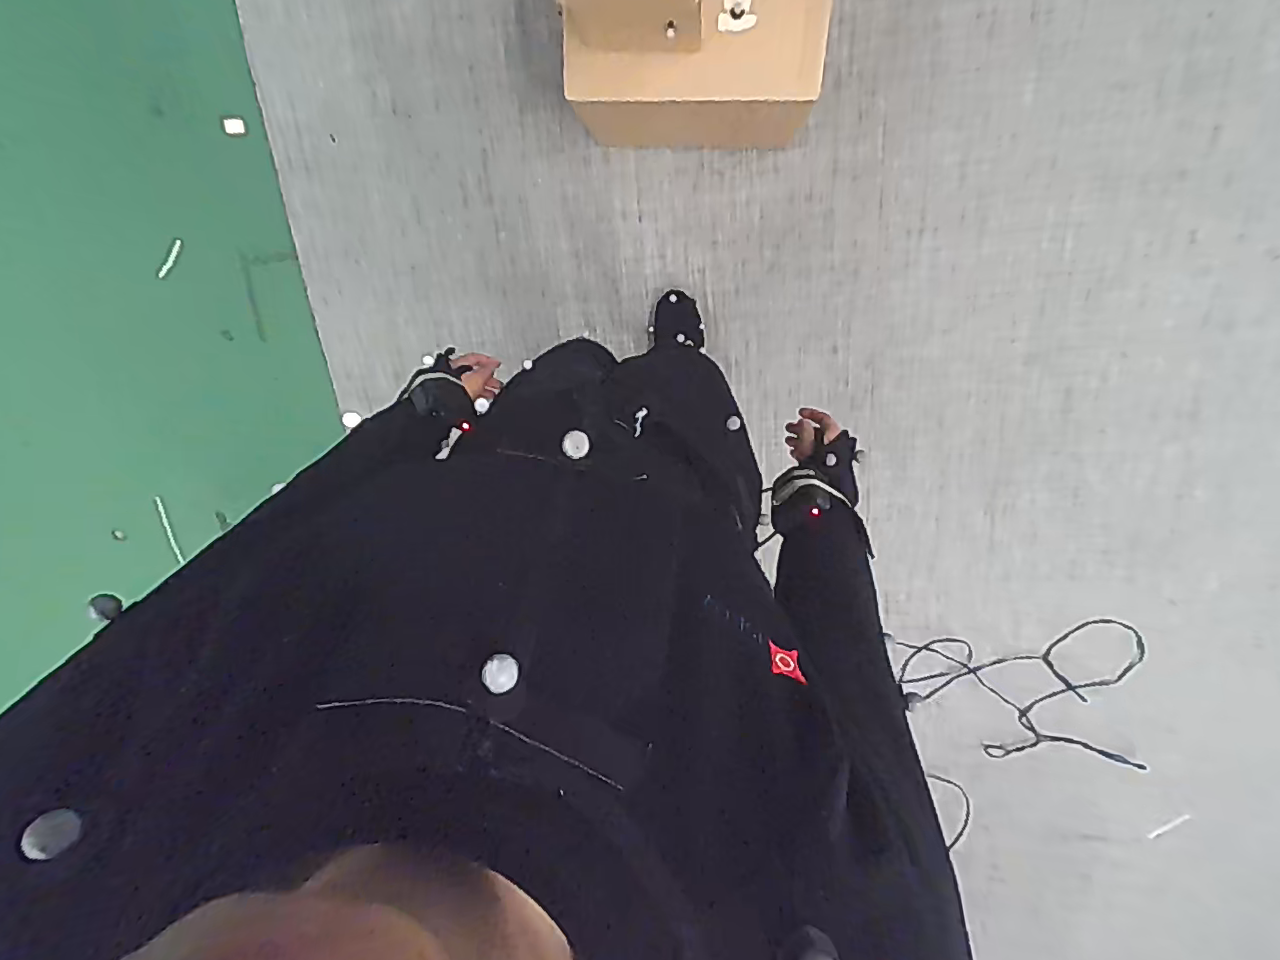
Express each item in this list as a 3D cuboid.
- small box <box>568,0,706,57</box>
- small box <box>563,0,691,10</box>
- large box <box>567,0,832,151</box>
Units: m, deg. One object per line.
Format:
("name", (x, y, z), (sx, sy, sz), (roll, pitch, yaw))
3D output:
("small box", (0.004, -0.698, 0.724), (0.179, 0.176, 0.168), (4, 108, 6))
("small box", (-0.019, -0.640, 0.574), (0.179, 0.176, 0.168), (5, 108, 3))
("large box", (0.097, -0.787, 0.941), (0.408, 0.320, 0.320), (3, 110, 4))
